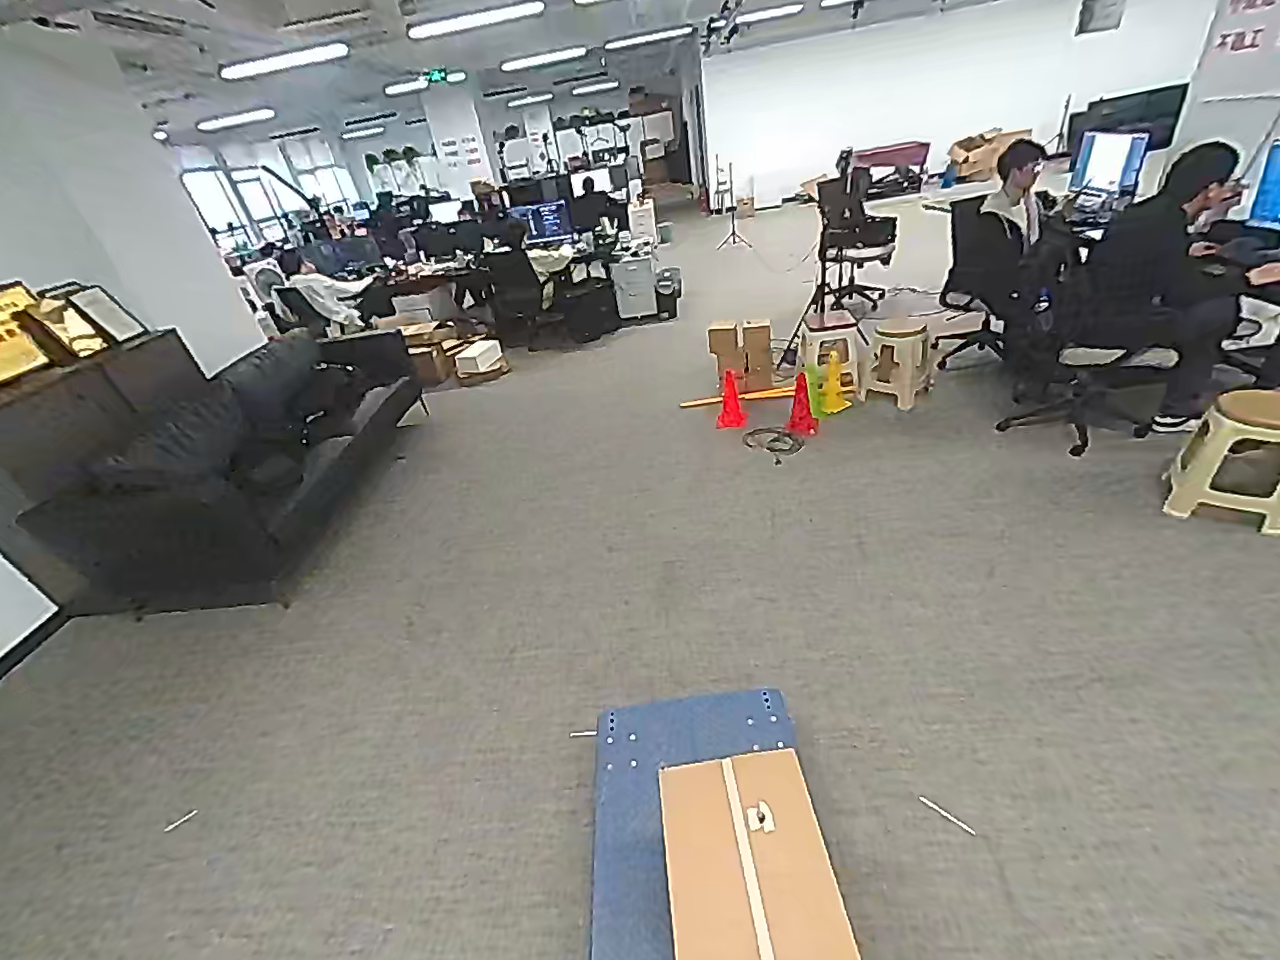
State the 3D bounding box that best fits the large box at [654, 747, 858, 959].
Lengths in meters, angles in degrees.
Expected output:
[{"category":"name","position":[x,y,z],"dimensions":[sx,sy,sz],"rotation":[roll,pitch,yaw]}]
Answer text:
[{"category":"large box","position":[0.222,0.854,1.128],"dimensions":[0.320,0.320,0.408],"rotation":[-9,32,1]}]
